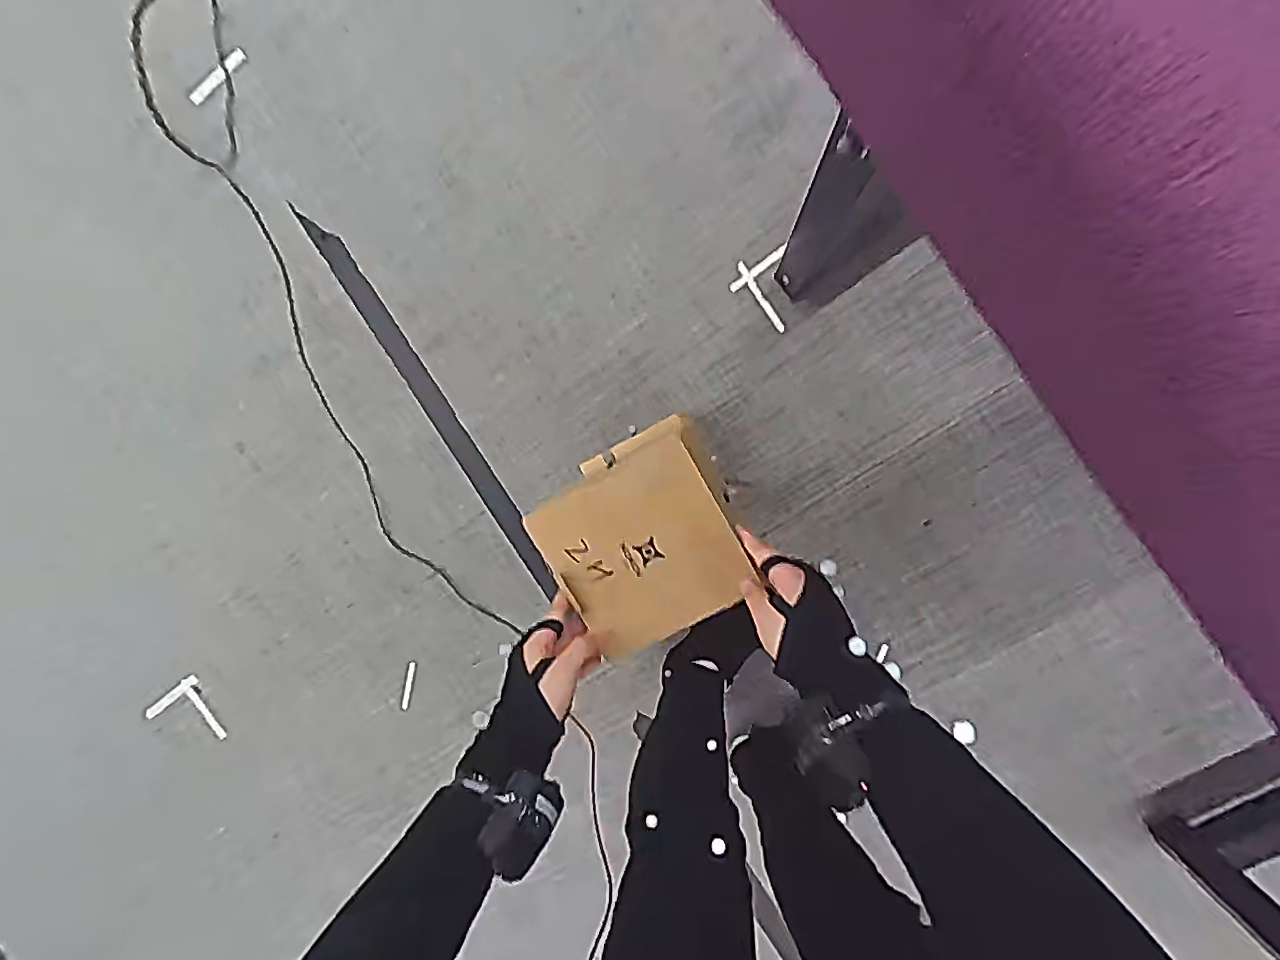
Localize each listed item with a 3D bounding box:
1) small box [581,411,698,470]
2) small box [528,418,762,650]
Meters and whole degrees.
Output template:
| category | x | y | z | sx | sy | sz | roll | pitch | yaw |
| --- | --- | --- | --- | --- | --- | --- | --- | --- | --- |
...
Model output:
| category | x | y | z | sx | sy | sz | roll | pitch | yaw |
| --- | --- | --- | --- | --- | --- | --- | --- | --- | --- |
| small box | 0.031 | -0.003 | 0.901 | 0.179 | 0.176 | 0.168 | -28 | 93 | 11 |
| small box | 0.012 | 0.045 | 0.591 | 0.179 | 0.176 | 0.168 | -29 | 97 | 13 |
